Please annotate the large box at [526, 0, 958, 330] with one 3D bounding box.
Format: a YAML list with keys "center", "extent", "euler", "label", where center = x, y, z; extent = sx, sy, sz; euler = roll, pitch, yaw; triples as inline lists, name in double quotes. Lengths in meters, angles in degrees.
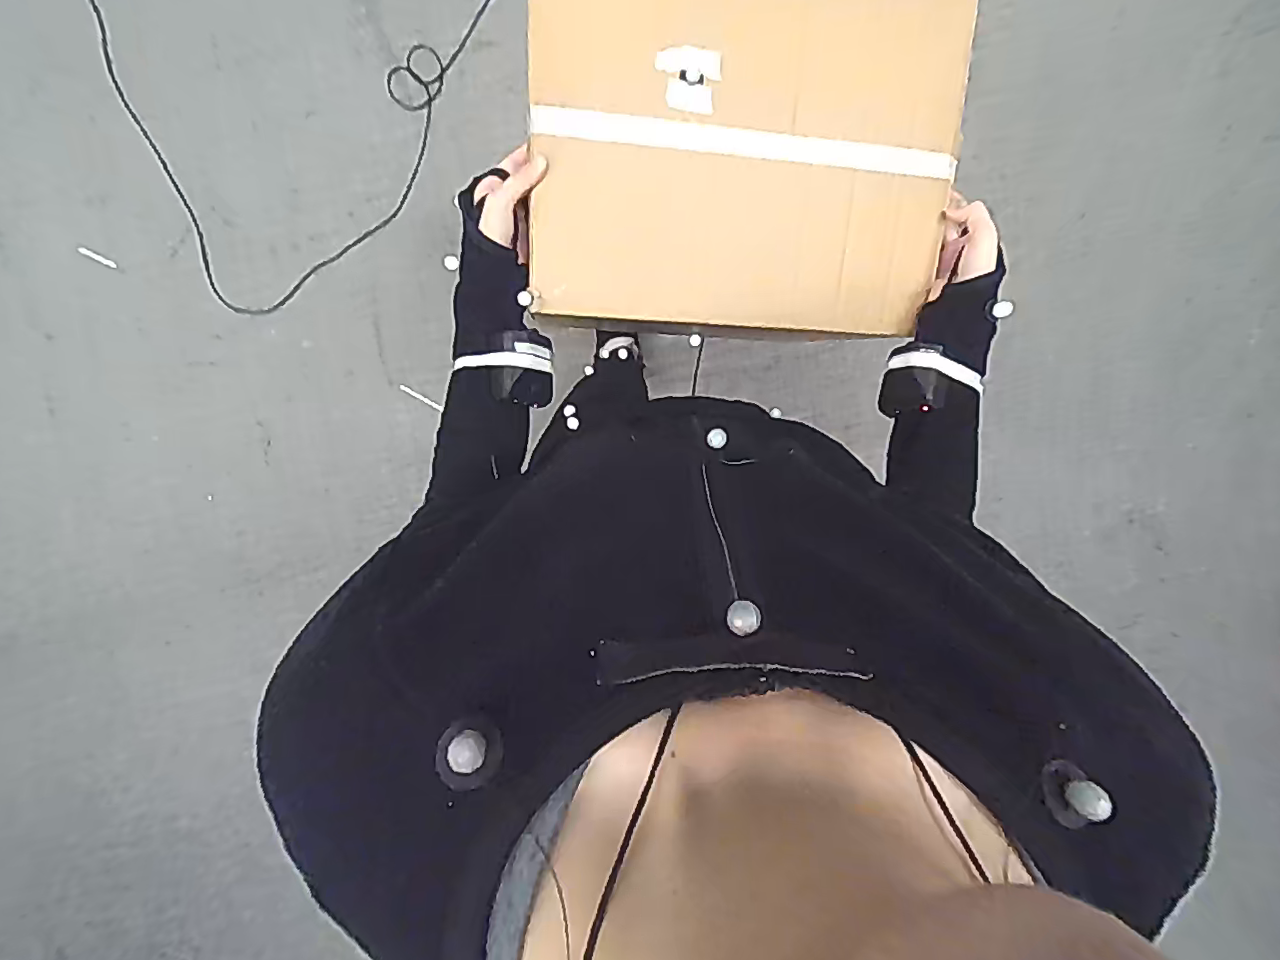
- center: [0.076, -0.349, 0.653]
  extent: [0.408, 0.320, 0.320]
  euler: [1, 103, -9]
  label: "large box"
